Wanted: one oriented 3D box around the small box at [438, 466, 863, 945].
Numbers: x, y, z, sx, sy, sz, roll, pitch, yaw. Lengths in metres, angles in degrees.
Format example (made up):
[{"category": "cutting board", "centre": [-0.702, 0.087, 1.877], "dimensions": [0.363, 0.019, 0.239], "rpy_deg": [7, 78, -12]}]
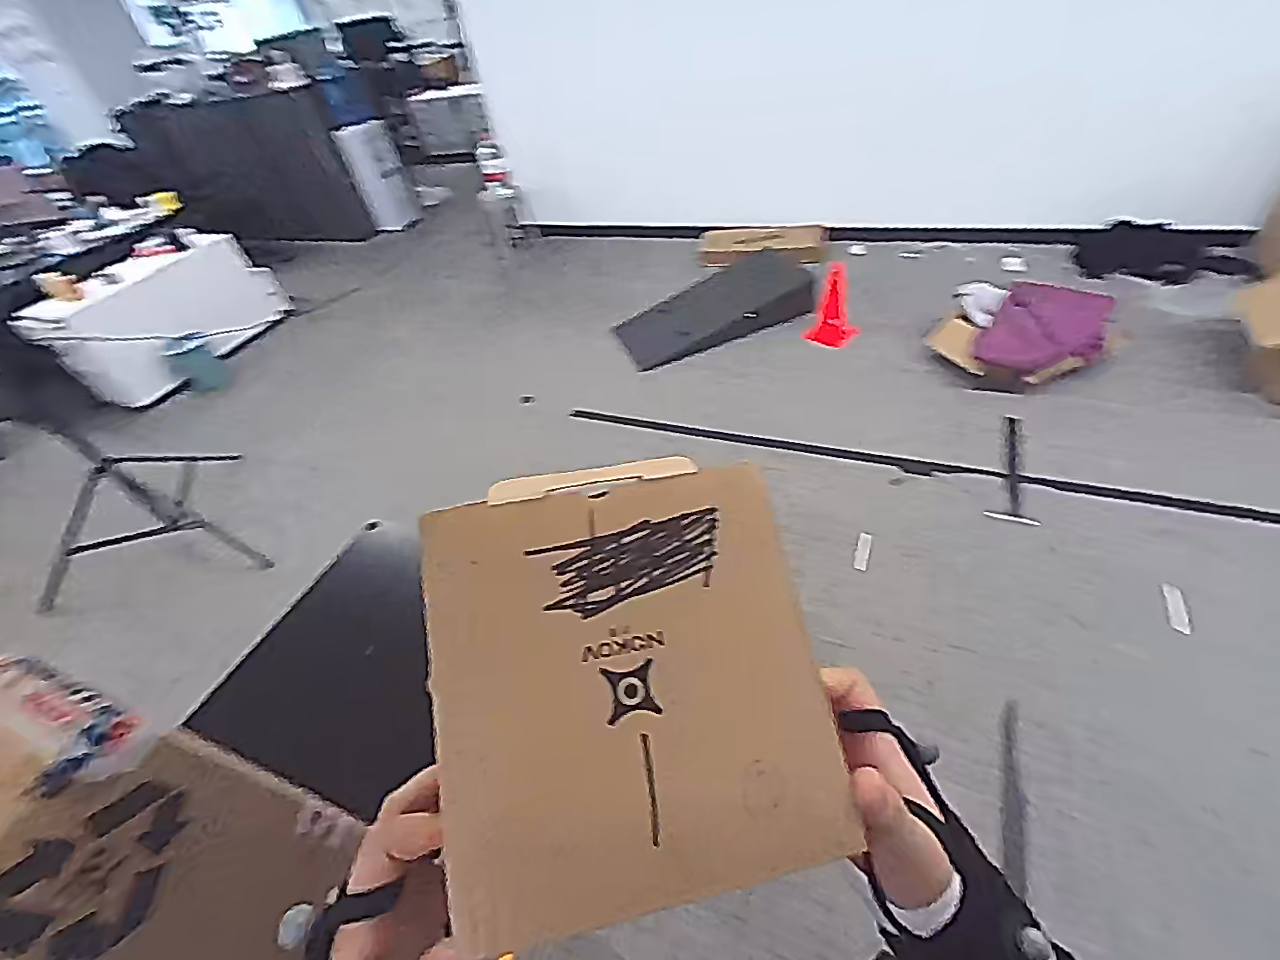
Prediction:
[{"category": "small box", "centre": [-0.008, 0.113, 0.315], "dimensions": [0.168, 0.176, 0.179], "rpy_deg": [-10, 70, -7]}]
